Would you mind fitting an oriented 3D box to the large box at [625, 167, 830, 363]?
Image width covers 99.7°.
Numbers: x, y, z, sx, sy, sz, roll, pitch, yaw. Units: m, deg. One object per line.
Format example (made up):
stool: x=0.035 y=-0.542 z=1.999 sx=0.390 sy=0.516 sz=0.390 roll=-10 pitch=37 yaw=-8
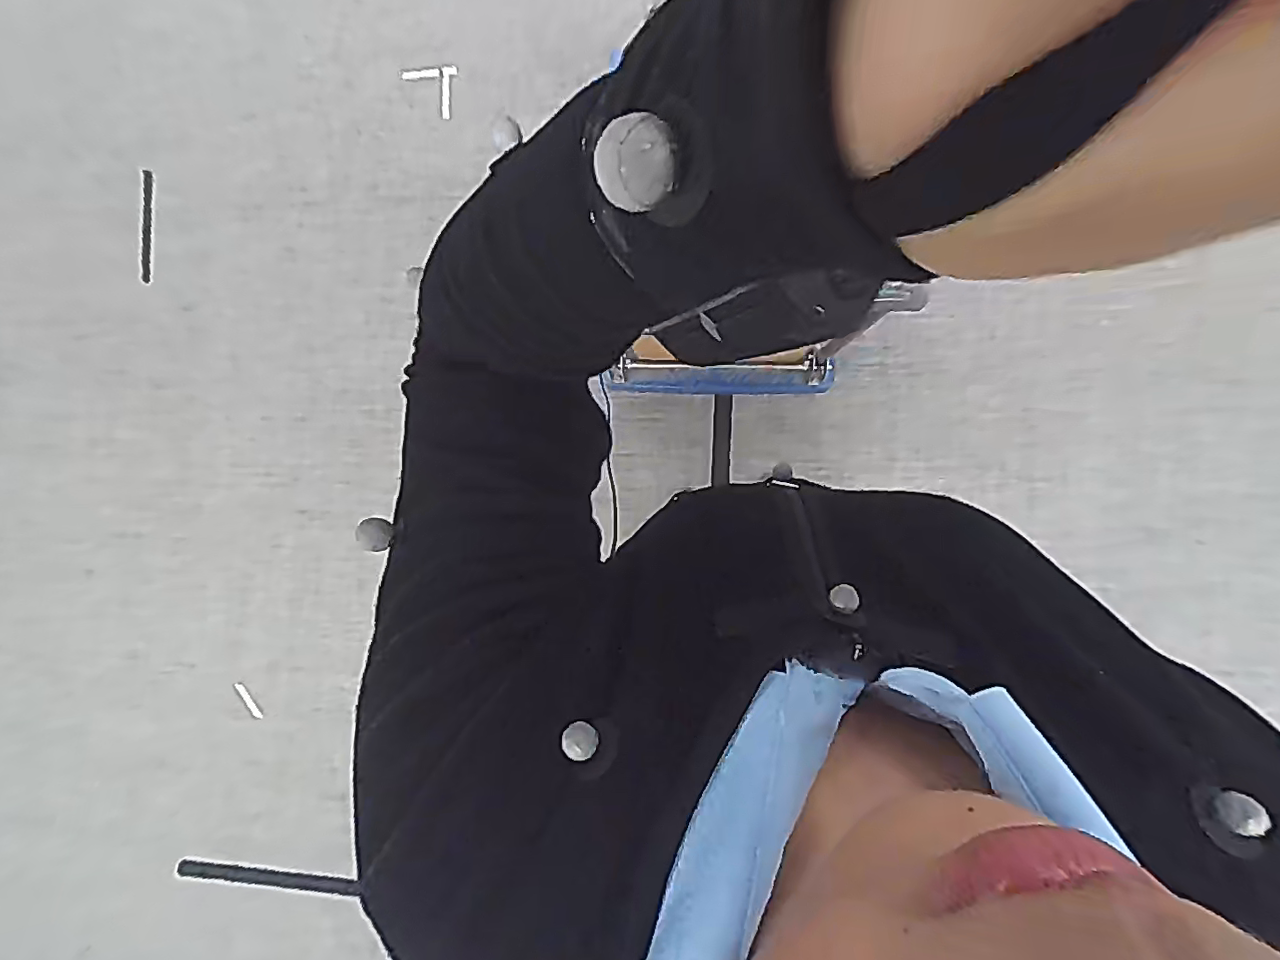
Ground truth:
large box: x=0.182 y=-0.452 z=1.211 sx=0.408 sy=0.320 sz=0.320 roll=1 pitch=89 yaw=5
